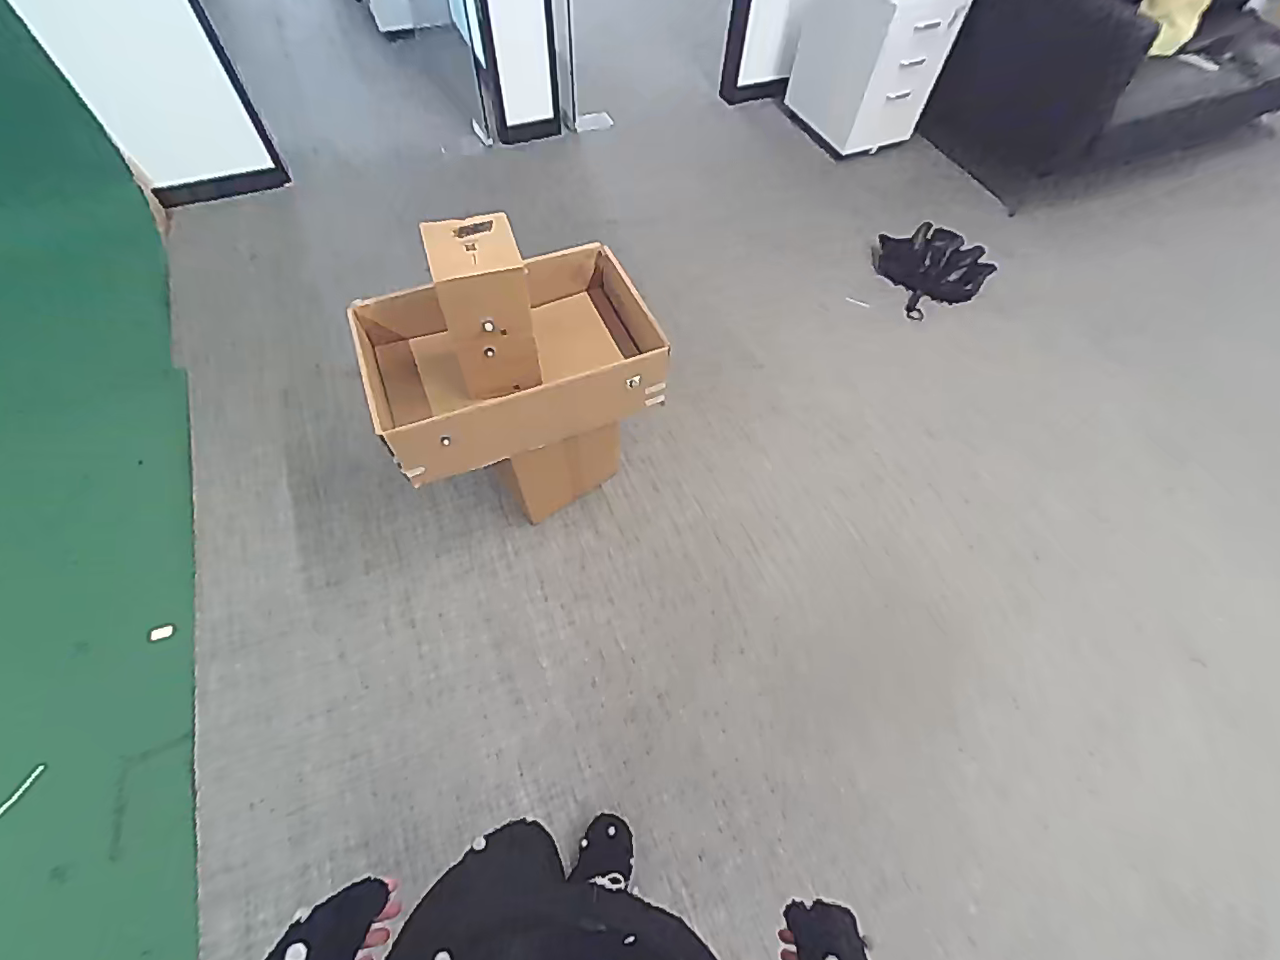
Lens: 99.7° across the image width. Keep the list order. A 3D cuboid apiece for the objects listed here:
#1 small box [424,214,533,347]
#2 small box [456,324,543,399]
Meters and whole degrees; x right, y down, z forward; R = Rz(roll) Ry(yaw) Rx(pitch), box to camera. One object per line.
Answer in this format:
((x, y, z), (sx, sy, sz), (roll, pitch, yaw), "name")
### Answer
((-0.318, -0.396, 1.081), (0.168, 0.176, 0.179), (-15, 61, -12), "small box")
((-0.321, -0.312, 1.222), (0.168, 0.176, 0.179), (-13, 60, -10), "small box")
